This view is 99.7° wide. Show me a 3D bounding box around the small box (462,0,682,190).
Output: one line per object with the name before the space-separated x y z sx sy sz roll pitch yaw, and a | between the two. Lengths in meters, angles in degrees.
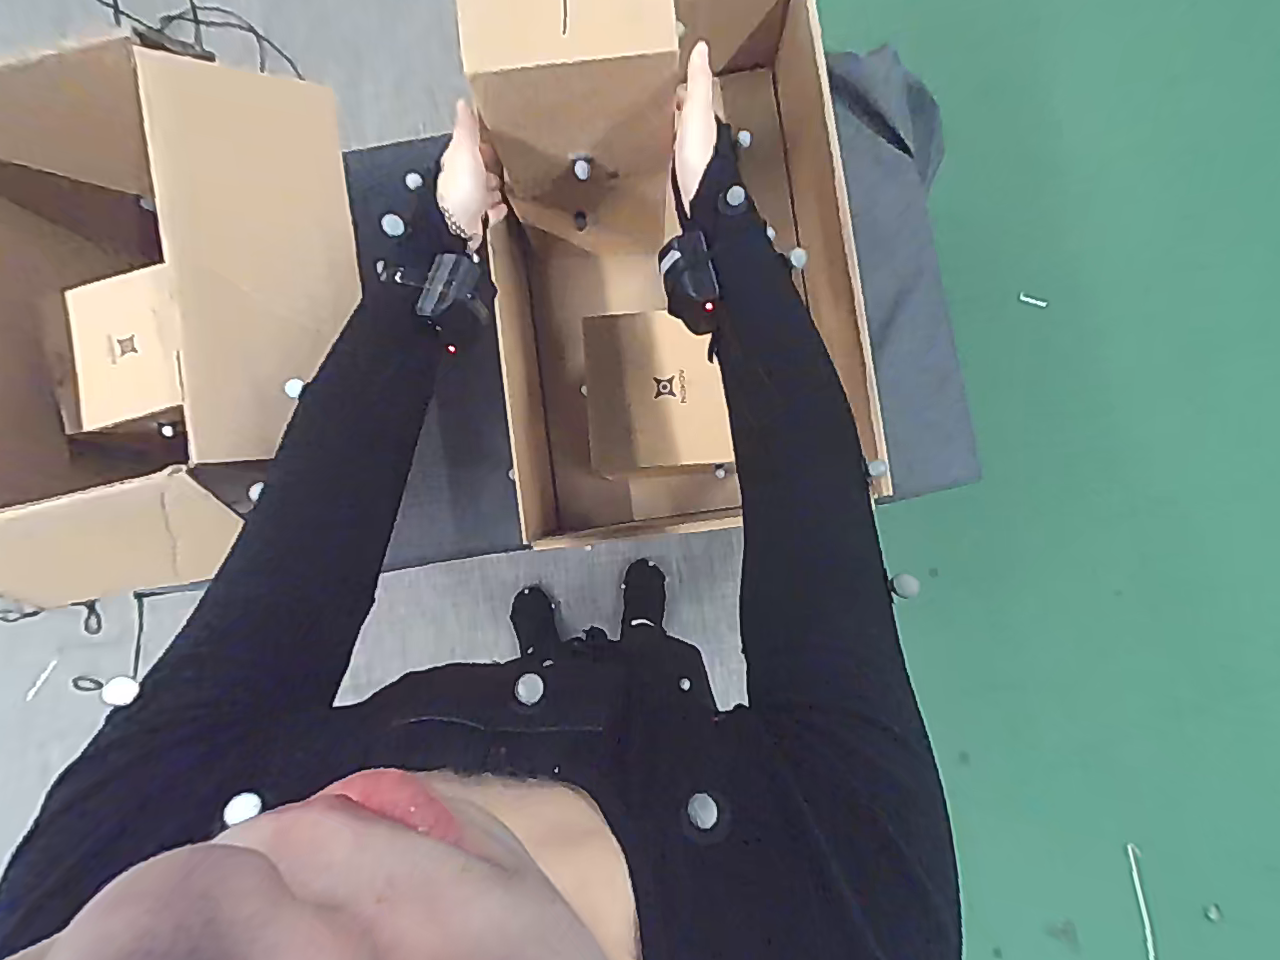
small box | -0.054 -0.398 0.489 0.168 0.176 0.179 -5 89 2
